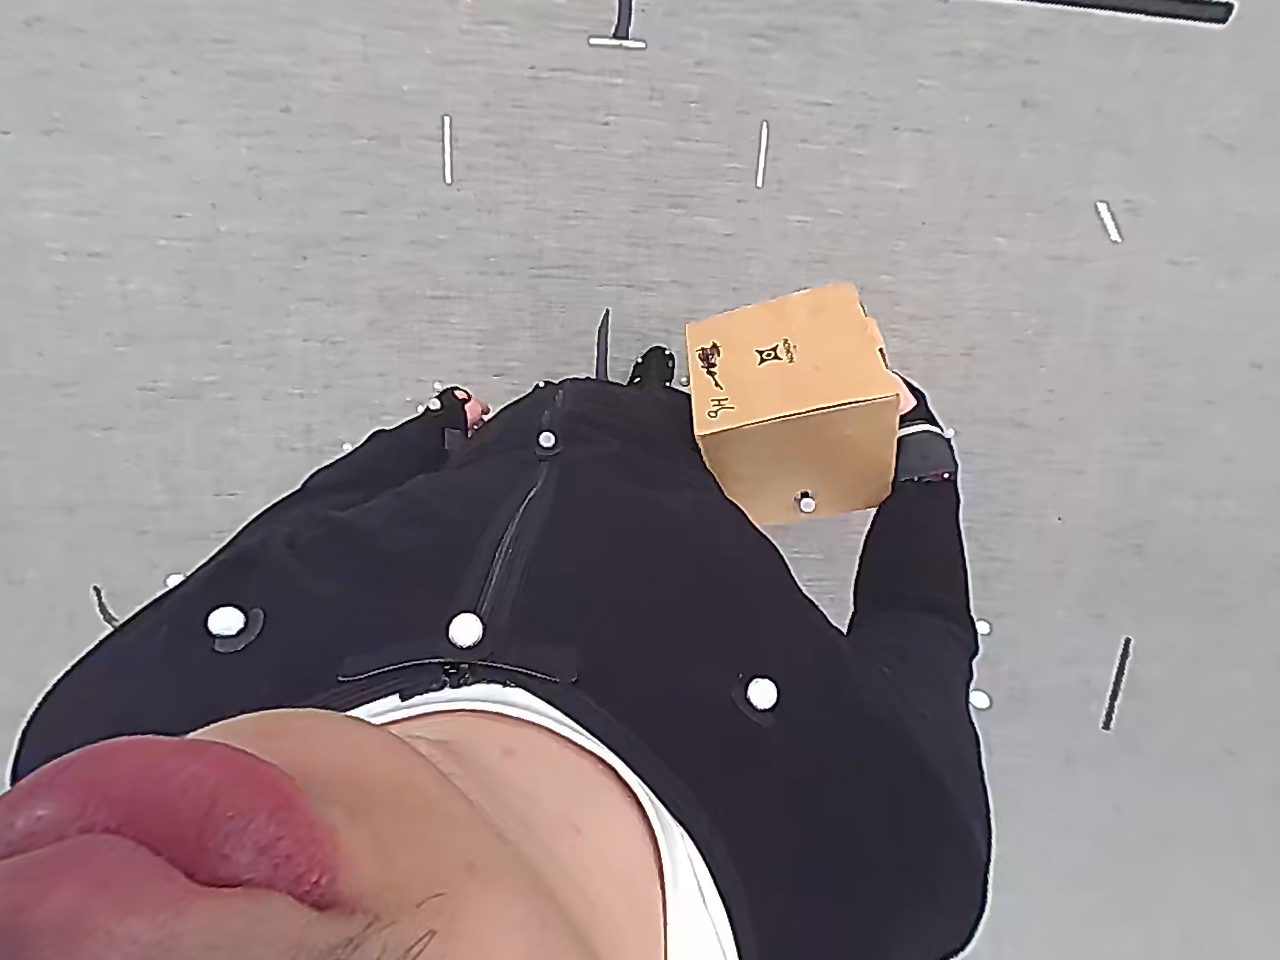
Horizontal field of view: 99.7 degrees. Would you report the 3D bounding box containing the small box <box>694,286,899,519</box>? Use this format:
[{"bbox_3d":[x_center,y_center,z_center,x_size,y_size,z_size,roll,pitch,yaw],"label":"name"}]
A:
[{"bbox_3d":[0.164,-0.076,0.594,0.179,0.168,0.176,-10,141,13],"label":"small box"}]
